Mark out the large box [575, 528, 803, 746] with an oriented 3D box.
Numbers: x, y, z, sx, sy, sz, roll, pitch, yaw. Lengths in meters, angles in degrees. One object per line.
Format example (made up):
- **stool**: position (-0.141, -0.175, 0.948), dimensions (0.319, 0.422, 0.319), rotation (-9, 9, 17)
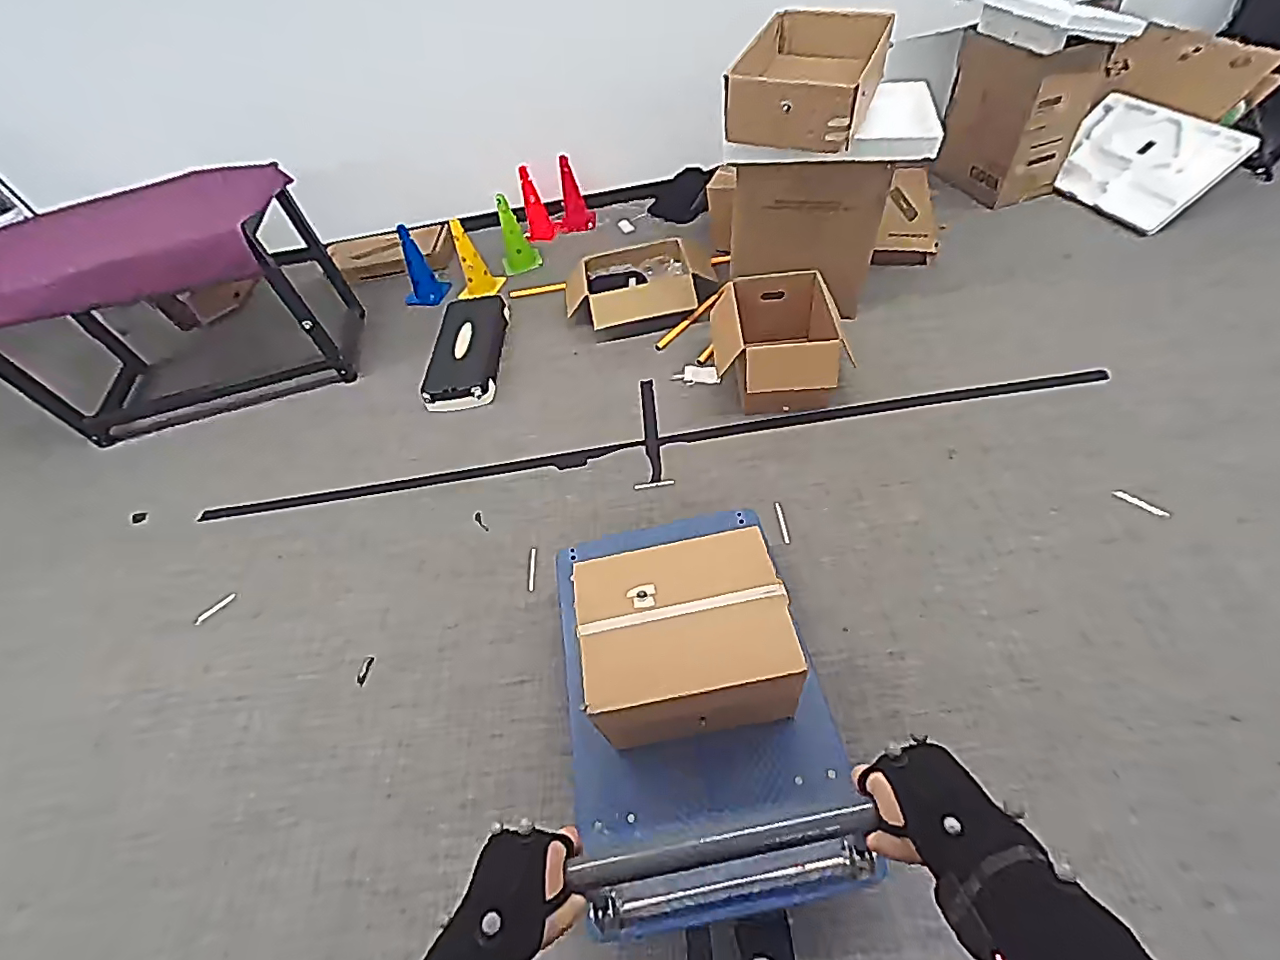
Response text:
- **large box**: position (0.103, 0.352, 1.183), dimensions (0.408, 0.320, 0.320), rotation (-13, 51, 1)
